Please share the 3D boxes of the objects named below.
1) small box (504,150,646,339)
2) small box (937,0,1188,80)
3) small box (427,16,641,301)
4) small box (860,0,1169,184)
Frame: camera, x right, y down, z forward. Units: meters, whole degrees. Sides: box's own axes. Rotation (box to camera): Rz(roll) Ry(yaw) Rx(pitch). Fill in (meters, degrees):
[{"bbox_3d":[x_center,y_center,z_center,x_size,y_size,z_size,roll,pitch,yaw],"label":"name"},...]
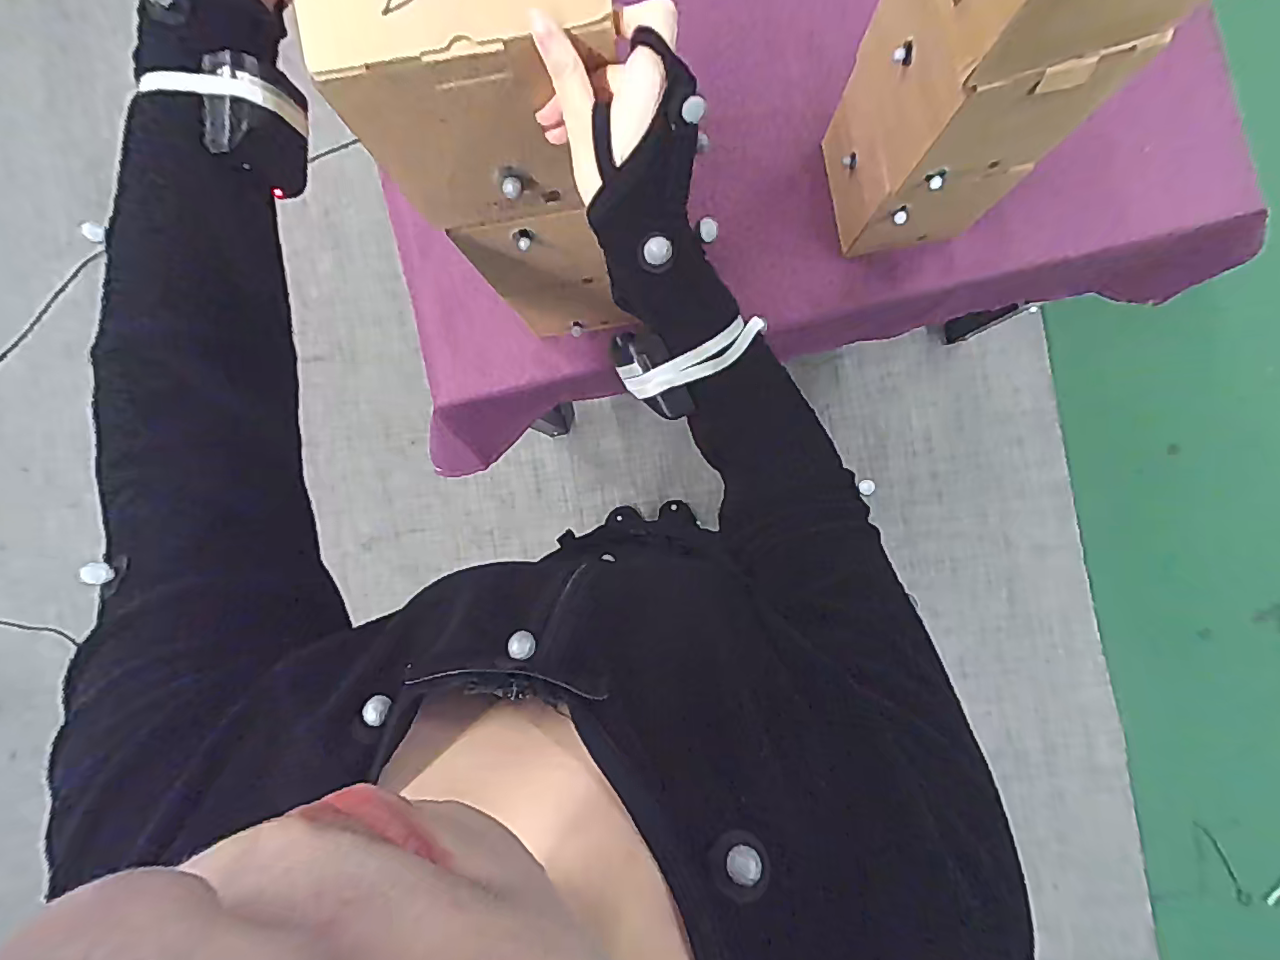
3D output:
[{"bbox_3d":[-0.084,-0.304,0.717,0.168,0.176,0.179,-8,89,4],"label":"small box"},{"bbox_3d":[0.327,-0.428,0.368,0.179,0.176,0.168,-15,88,4],"label":"small box"},{"bbox_3d":[-0.094,-0.307,0.553,0.168,0.176,0.179,-8,88,4],"label":"small box"},{"bbox_3d":[0.340,-0.423,0.530,0.168,0.176,0.179,-13,87,3],"label":"small box"}]
